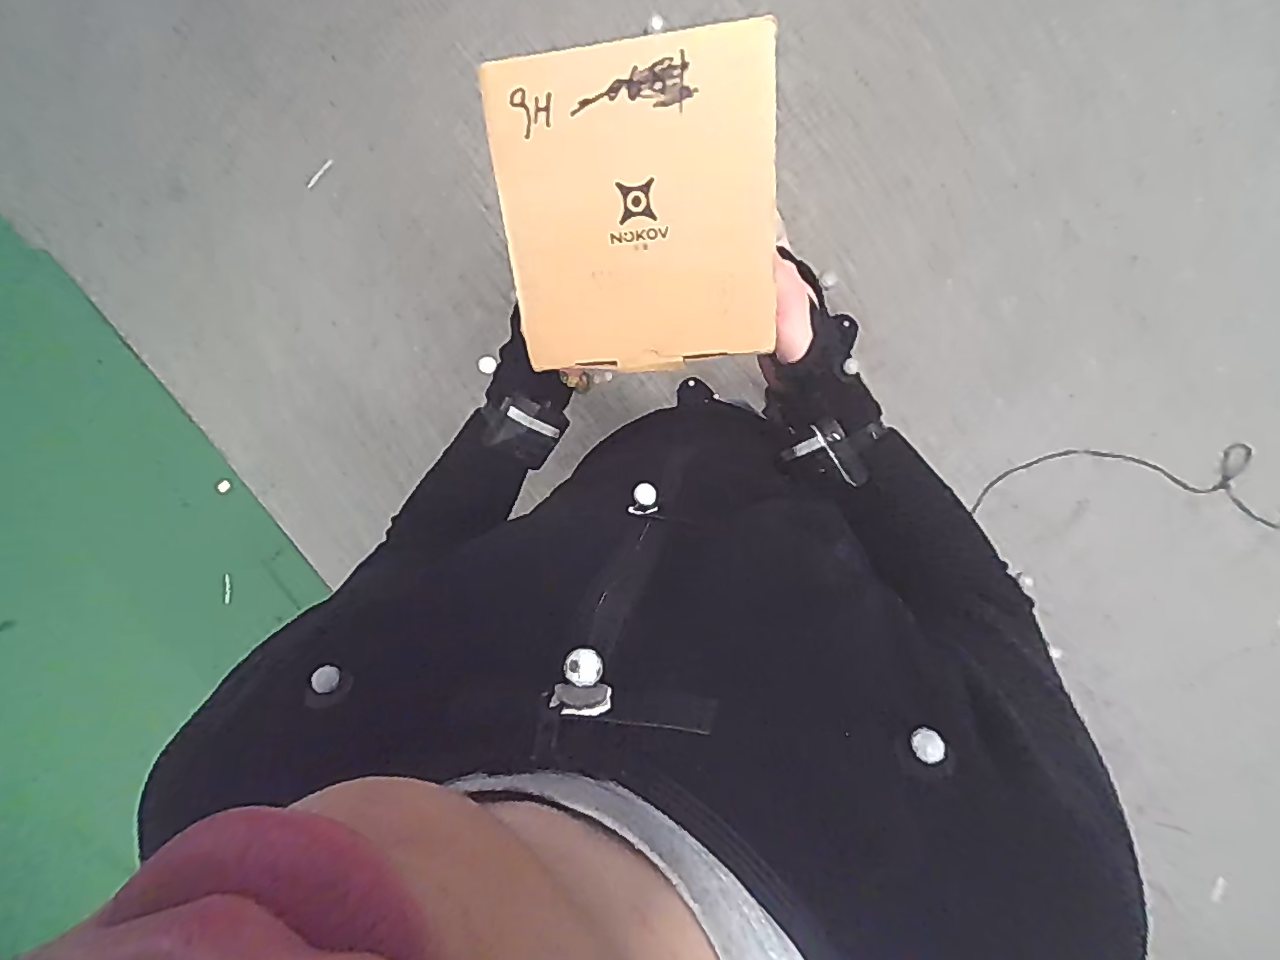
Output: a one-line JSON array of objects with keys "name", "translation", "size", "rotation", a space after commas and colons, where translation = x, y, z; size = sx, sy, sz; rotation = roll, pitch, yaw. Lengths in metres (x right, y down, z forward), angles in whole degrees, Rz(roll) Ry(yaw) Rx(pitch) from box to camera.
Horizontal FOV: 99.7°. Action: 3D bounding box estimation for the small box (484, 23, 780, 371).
[{"name": "small box", "translation": [0.010, -0.190, 0.398], "size": [0.168, 0.176, 0.179], "rotation": [-3, 115, 8]}]
